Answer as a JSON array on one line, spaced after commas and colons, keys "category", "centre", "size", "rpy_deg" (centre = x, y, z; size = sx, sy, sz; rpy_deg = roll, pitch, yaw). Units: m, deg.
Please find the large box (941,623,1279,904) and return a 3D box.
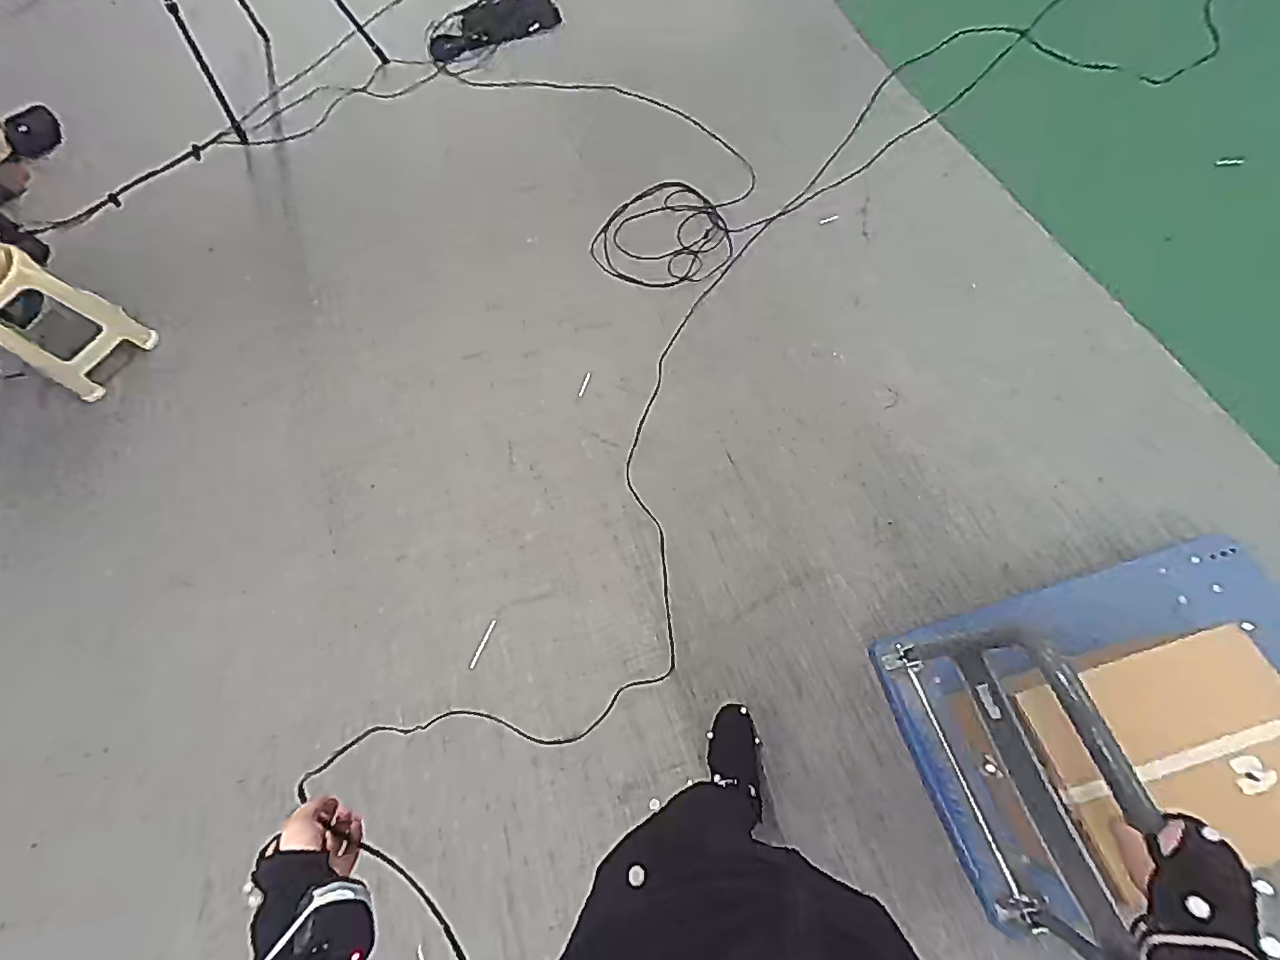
[{"category": "large box", "centre": [0.876, 0.502, 1.009], "size": [0.408, 0.320, 0.320], "rpy_deg": [-19, 66, 0]}]
